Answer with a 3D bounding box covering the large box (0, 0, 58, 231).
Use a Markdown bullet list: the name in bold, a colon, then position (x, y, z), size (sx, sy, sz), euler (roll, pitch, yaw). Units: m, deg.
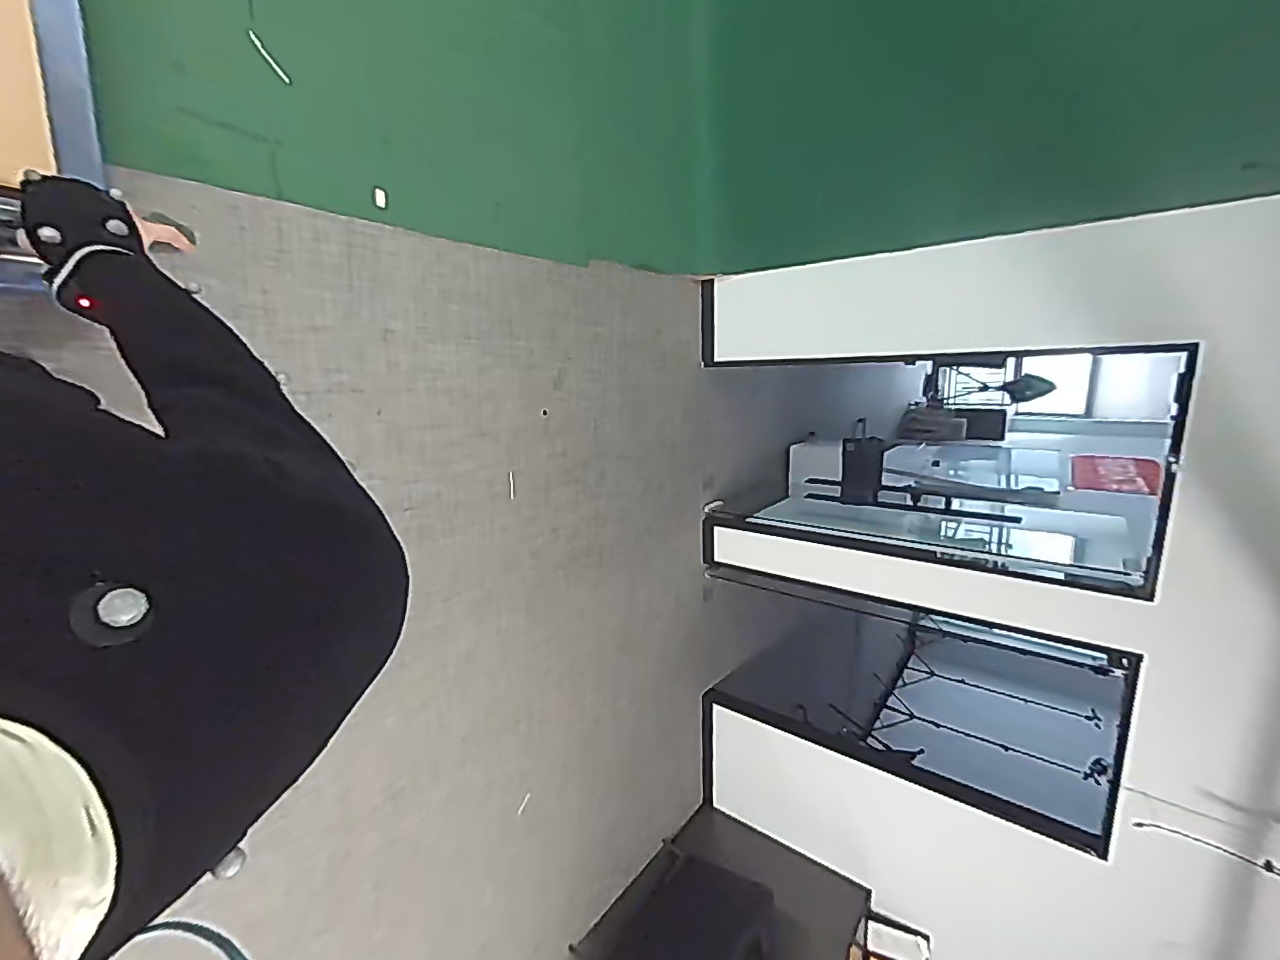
- **large box**: position (-1.078, -0.607, 0.740), size (0.320, 0.320, 0.408), euler (-13, 105, -52)
